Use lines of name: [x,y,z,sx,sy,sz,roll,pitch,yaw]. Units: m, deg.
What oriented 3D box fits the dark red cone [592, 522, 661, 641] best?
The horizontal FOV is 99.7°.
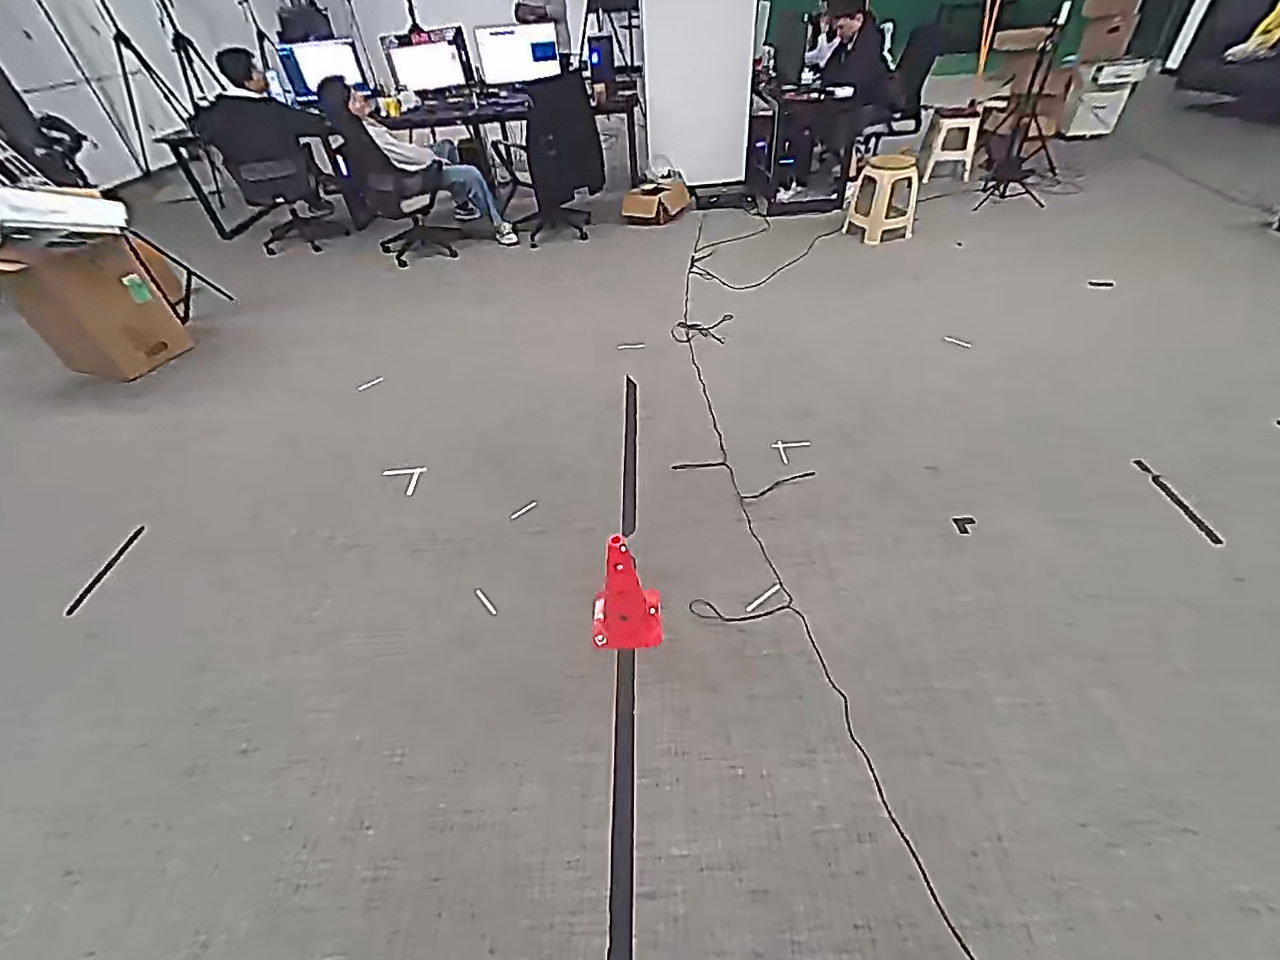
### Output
dark red cone: [-0.048,0.267,1.481,0.201,0.394,0.202,-3,42,1]
